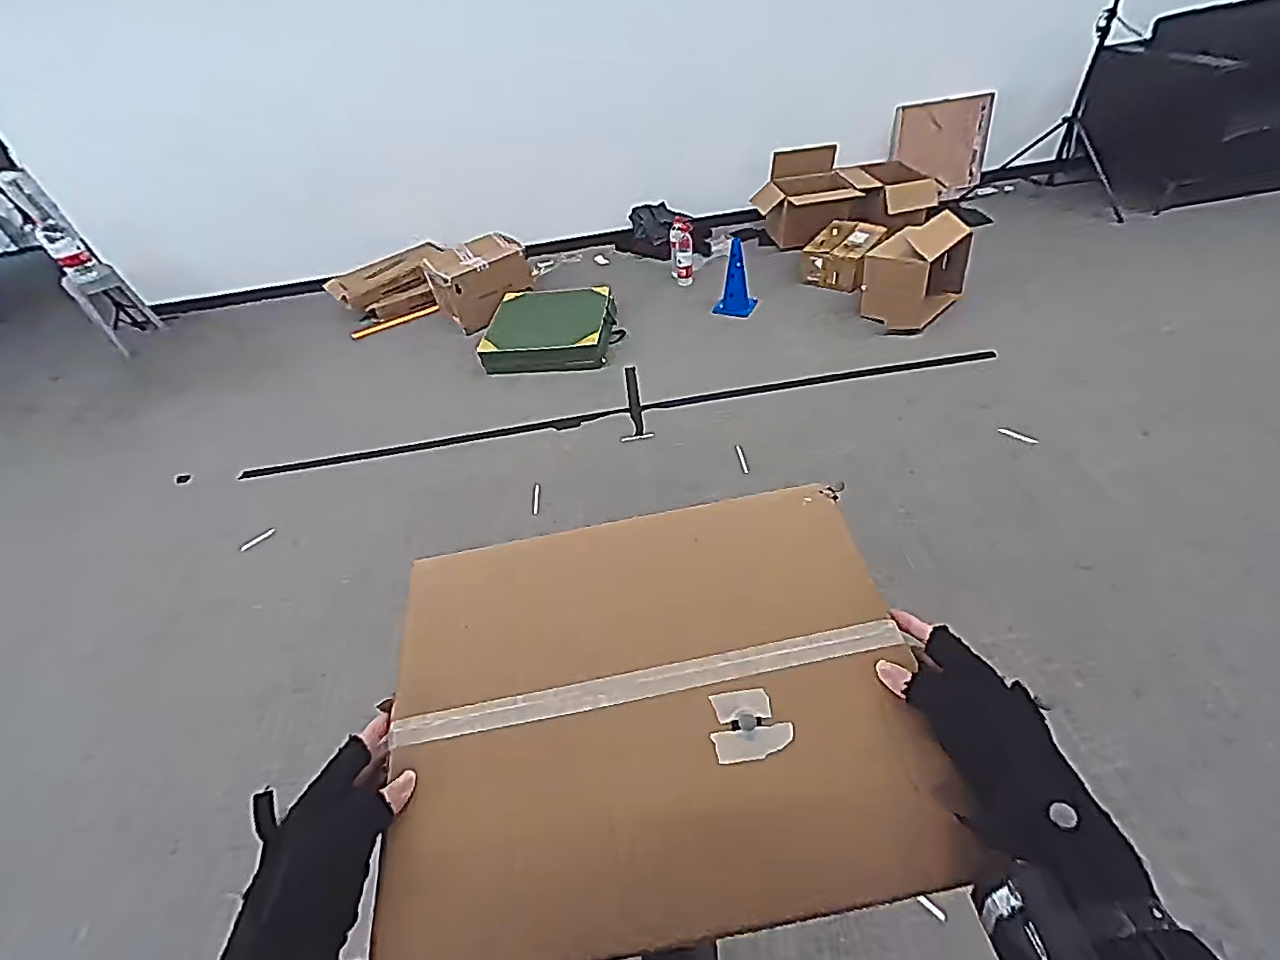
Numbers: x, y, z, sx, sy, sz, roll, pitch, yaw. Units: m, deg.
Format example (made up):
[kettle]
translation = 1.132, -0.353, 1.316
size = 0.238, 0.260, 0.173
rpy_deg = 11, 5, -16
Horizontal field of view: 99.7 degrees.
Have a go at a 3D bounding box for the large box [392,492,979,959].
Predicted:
[large box]
translation = 0.022, 0.258, 0.559
size = 0.408, 0.320, 0.320
rpy_deg = -11, 52, -1
